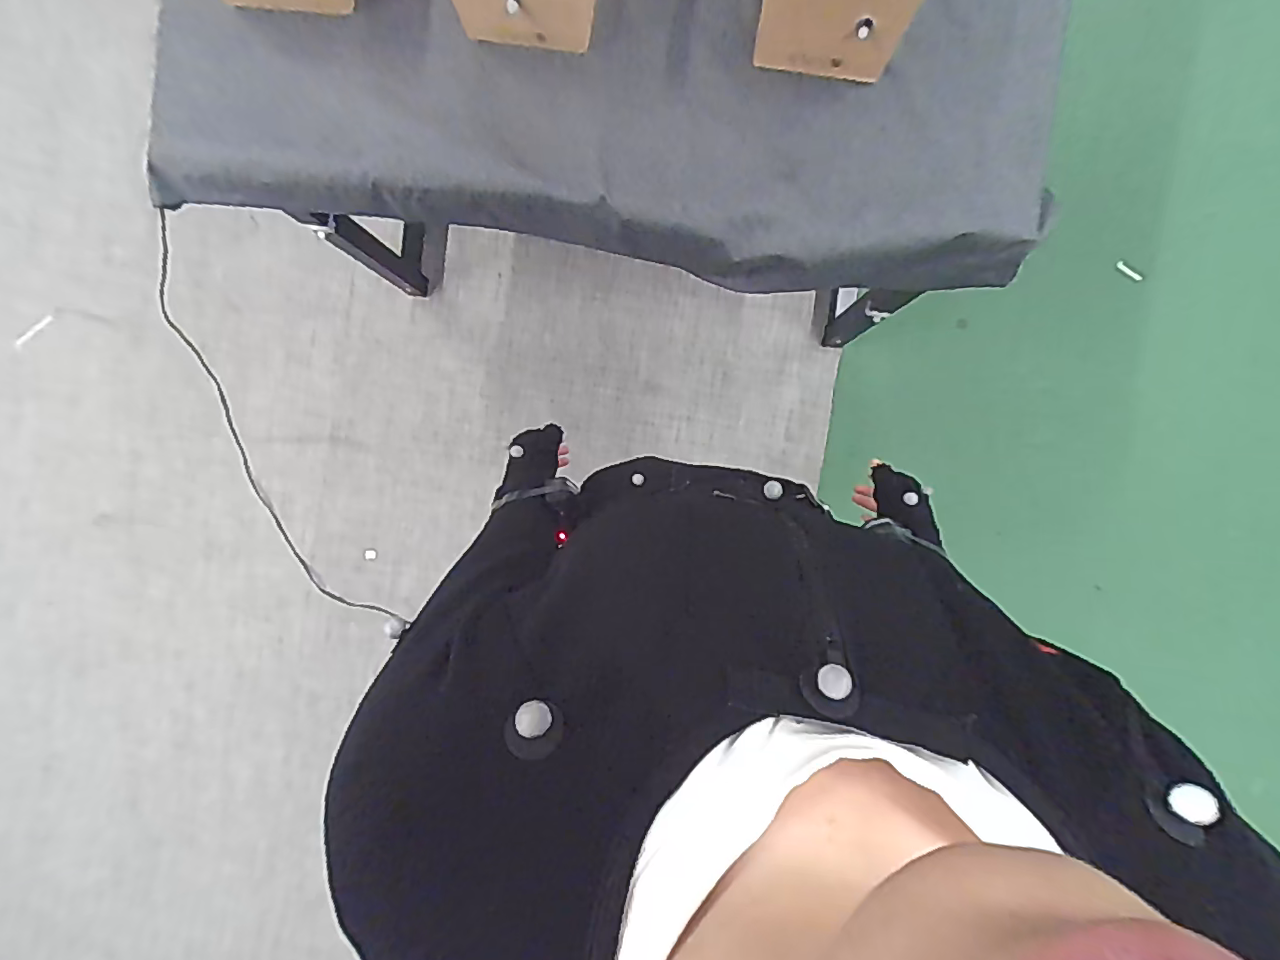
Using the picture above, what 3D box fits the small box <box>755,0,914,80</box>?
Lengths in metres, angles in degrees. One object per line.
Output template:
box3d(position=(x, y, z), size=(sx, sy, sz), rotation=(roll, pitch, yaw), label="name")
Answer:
box3d(position=(0.240, -0.619, 0.634), size=(0.168, 0.176, 0.179), rotation=(10, 91, 1), label="small box")

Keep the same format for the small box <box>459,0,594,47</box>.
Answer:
box3d(position=(-0.140, -0.668, 0.644), size=(0.168, 0.176, 0.179), rotation=(8, 93, 2), label="small box")

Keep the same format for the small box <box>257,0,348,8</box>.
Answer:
box3d(position=(-0.467, -0.721, 0.651), size=(0.179, 0.176, 0.168), rotation=(6, 92, 1), label="small box")
